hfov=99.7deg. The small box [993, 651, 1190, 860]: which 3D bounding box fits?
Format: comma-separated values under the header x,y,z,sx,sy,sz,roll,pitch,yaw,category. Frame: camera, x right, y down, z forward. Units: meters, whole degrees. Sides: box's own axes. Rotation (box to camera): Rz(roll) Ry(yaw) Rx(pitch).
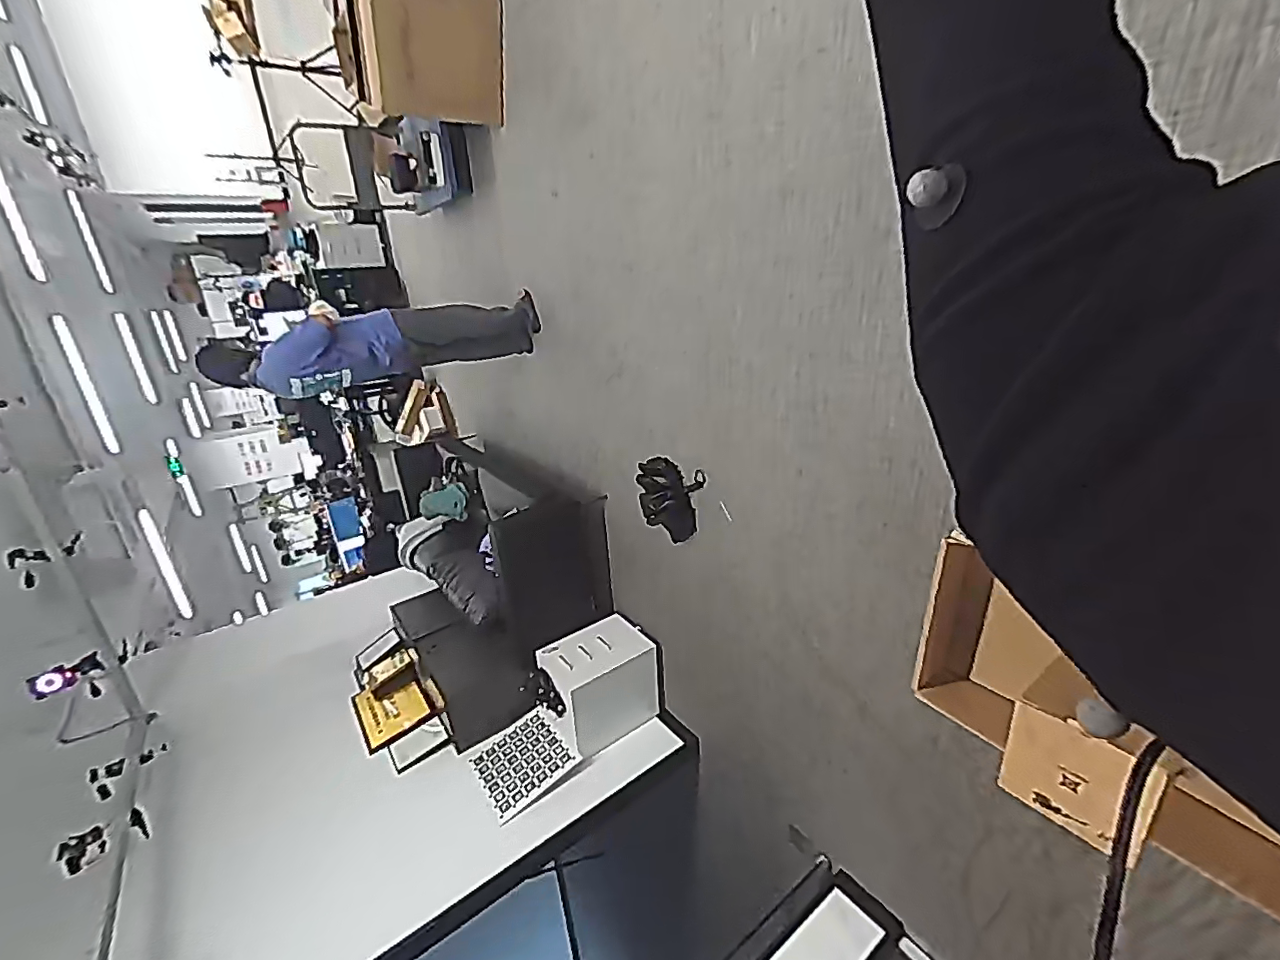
x,y,z,sx,sy,sz,roll,pitch,yaw,category
0.656,0.384,0.790,0.168,0.176,0.179,25,124,50,small box
